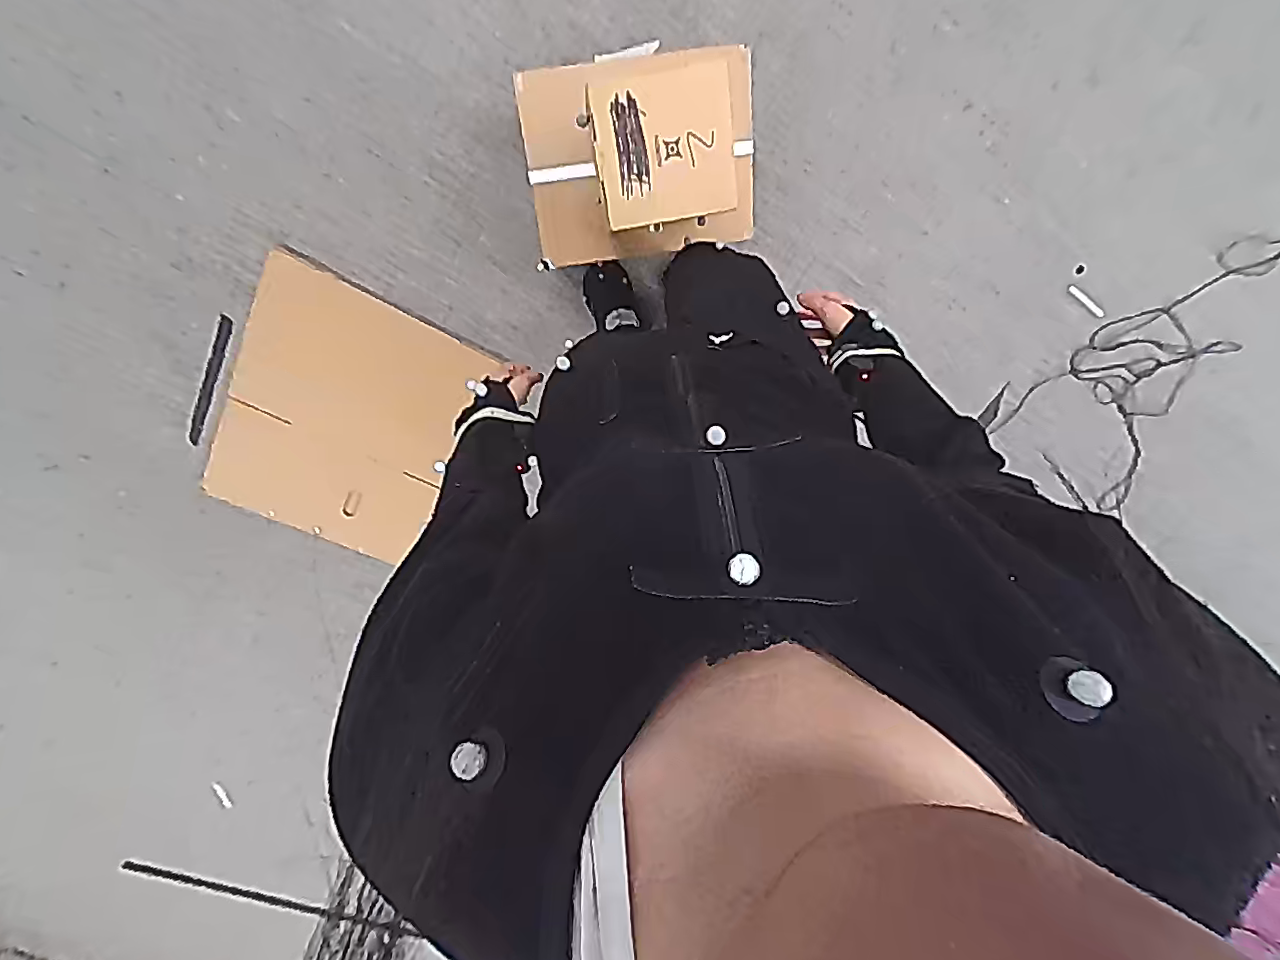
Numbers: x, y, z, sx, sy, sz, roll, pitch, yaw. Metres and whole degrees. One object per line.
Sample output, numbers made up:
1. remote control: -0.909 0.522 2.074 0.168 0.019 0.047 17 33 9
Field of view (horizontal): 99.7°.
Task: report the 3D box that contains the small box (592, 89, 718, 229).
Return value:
1. small box: 0.022 -0.521 0.899 0.179 0.176 0.168 -11 115 -1
